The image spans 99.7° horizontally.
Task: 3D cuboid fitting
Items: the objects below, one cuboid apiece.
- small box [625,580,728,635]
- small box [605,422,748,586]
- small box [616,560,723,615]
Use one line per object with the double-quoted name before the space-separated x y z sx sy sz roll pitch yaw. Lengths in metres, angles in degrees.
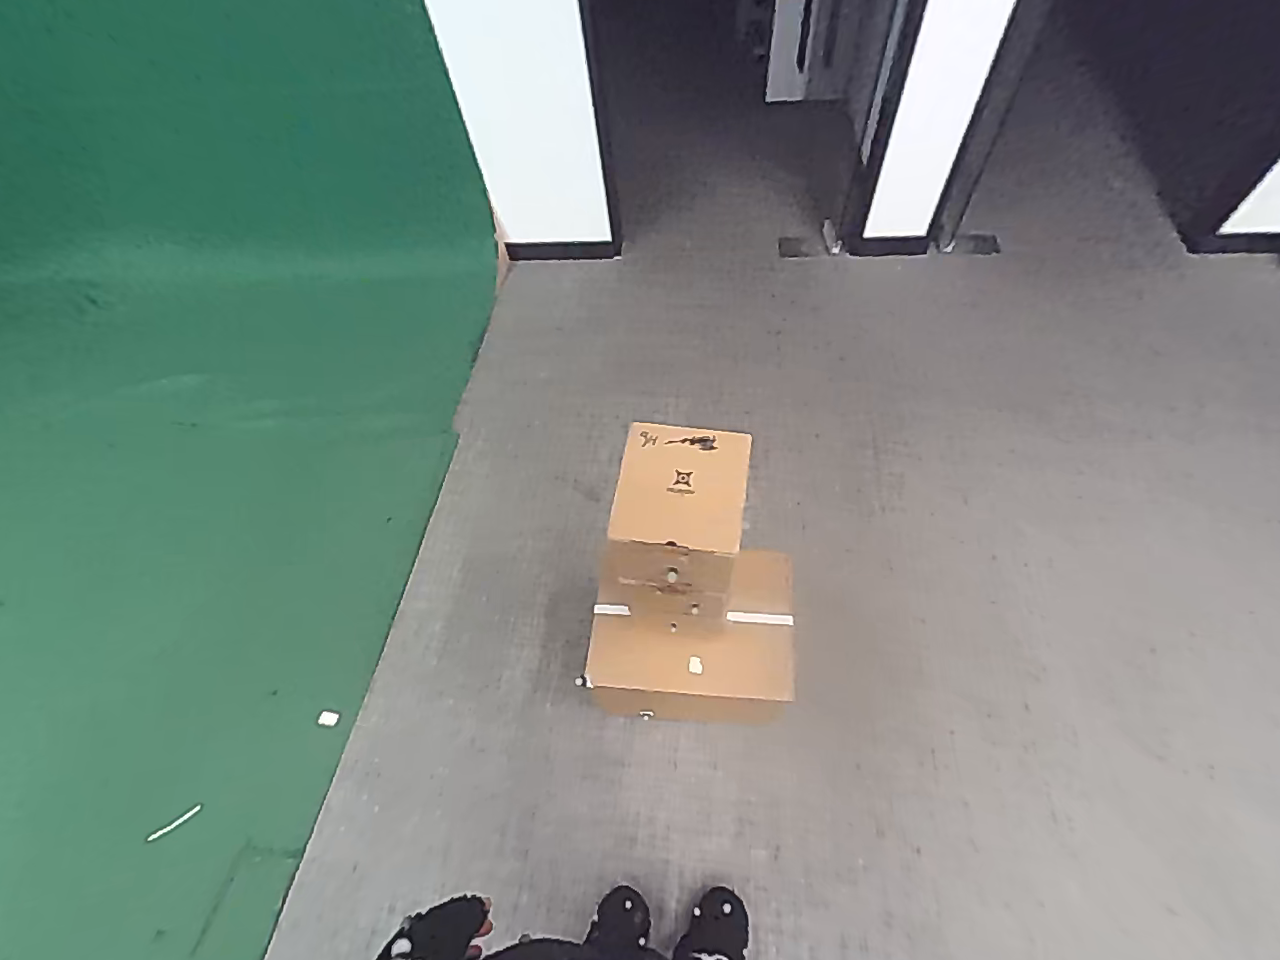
"small box" 0.081 0.195 1.055 0.179 0.176 0.168 9 63 10
"small box" 0.057 0.041 0.773 0.168 0.176 0.179 7 65 9
"small box" 0.063 0.119 0.917 0.168 0.176 0.179 6 62 7
